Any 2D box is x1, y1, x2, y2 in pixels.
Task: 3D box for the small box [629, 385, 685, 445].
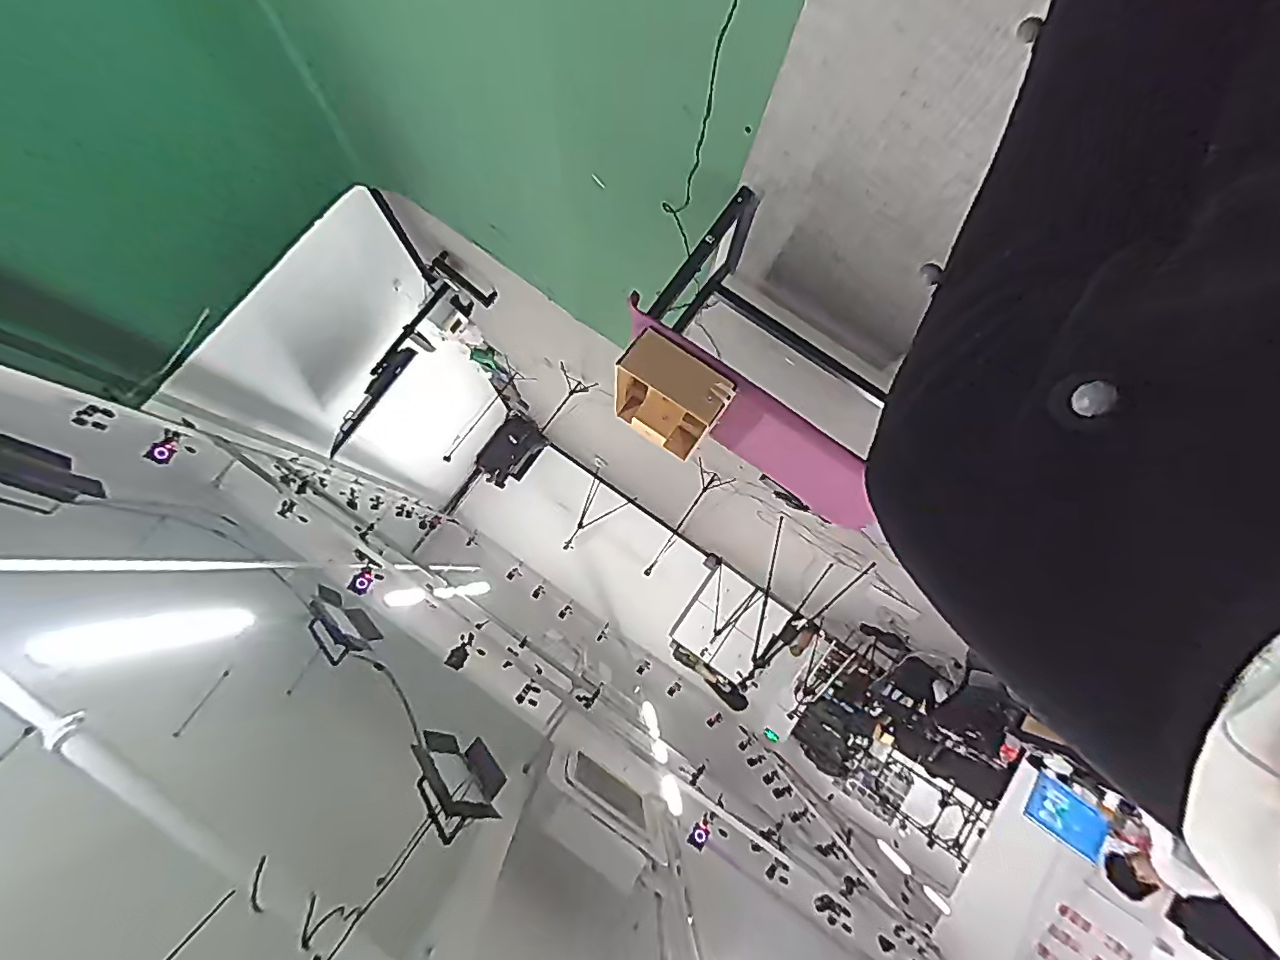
[{"bbox_3d":[0.074,-0.277,2.295,0.168,0.176,0.179,34,170,0],"label":"small box"}]
